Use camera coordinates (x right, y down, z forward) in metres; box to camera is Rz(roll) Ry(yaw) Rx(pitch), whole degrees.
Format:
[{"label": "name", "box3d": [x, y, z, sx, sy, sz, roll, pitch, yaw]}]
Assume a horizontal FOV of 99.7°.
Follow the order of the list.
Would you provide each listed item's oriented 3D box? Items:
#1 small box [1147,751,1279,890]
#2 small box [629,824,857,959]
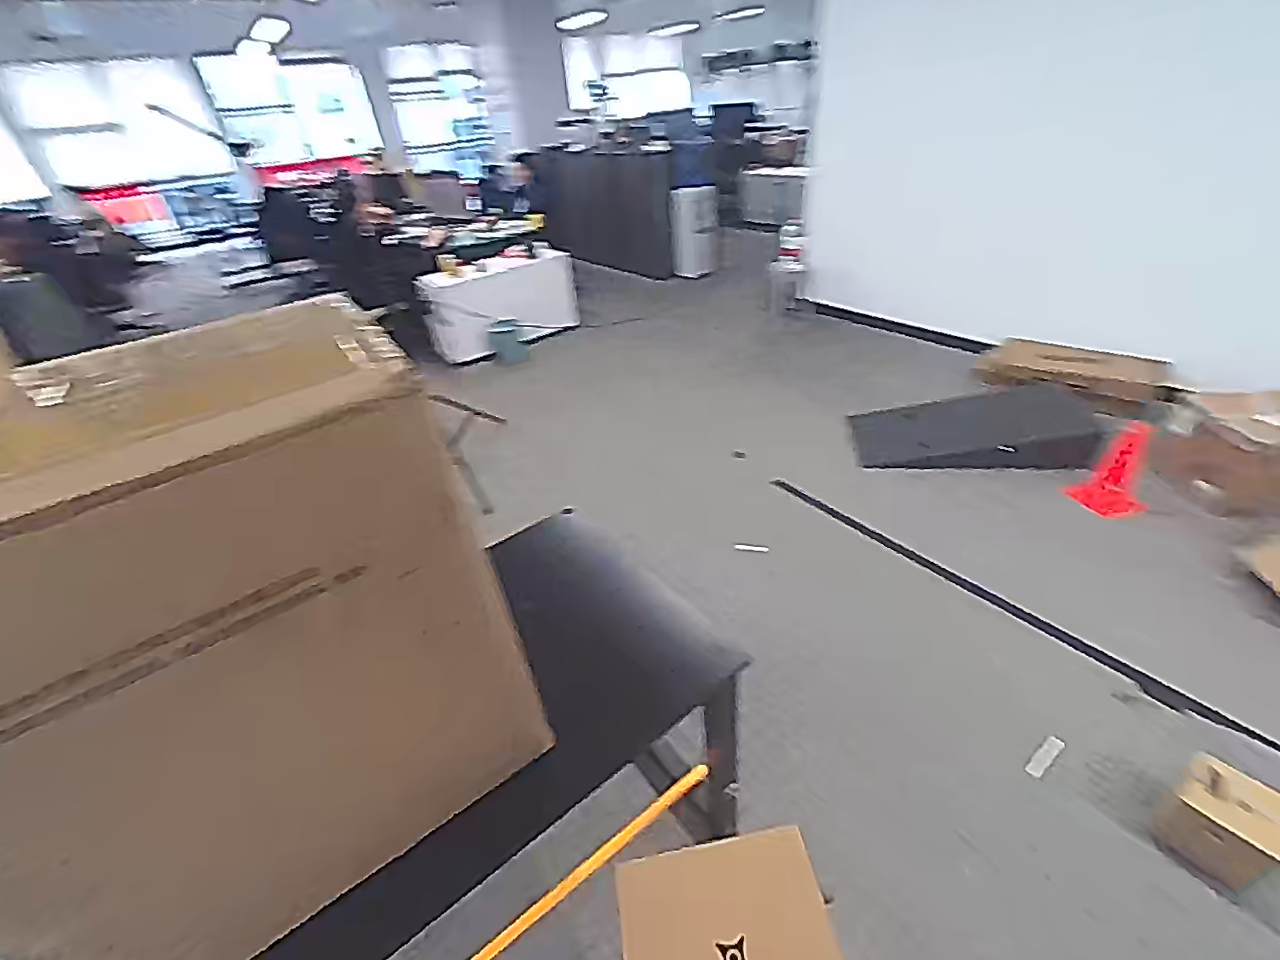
[{"label": "small box", "box3d": [1.305, 0.767, 1.220, 0.168, 0.176, 0.179, -30, 42, -29]}, {"label": "small box", "box3d": [0.087, 0.424, 0.448, 0.168, 0.176, 0.179, -10, 39, -1]}]
